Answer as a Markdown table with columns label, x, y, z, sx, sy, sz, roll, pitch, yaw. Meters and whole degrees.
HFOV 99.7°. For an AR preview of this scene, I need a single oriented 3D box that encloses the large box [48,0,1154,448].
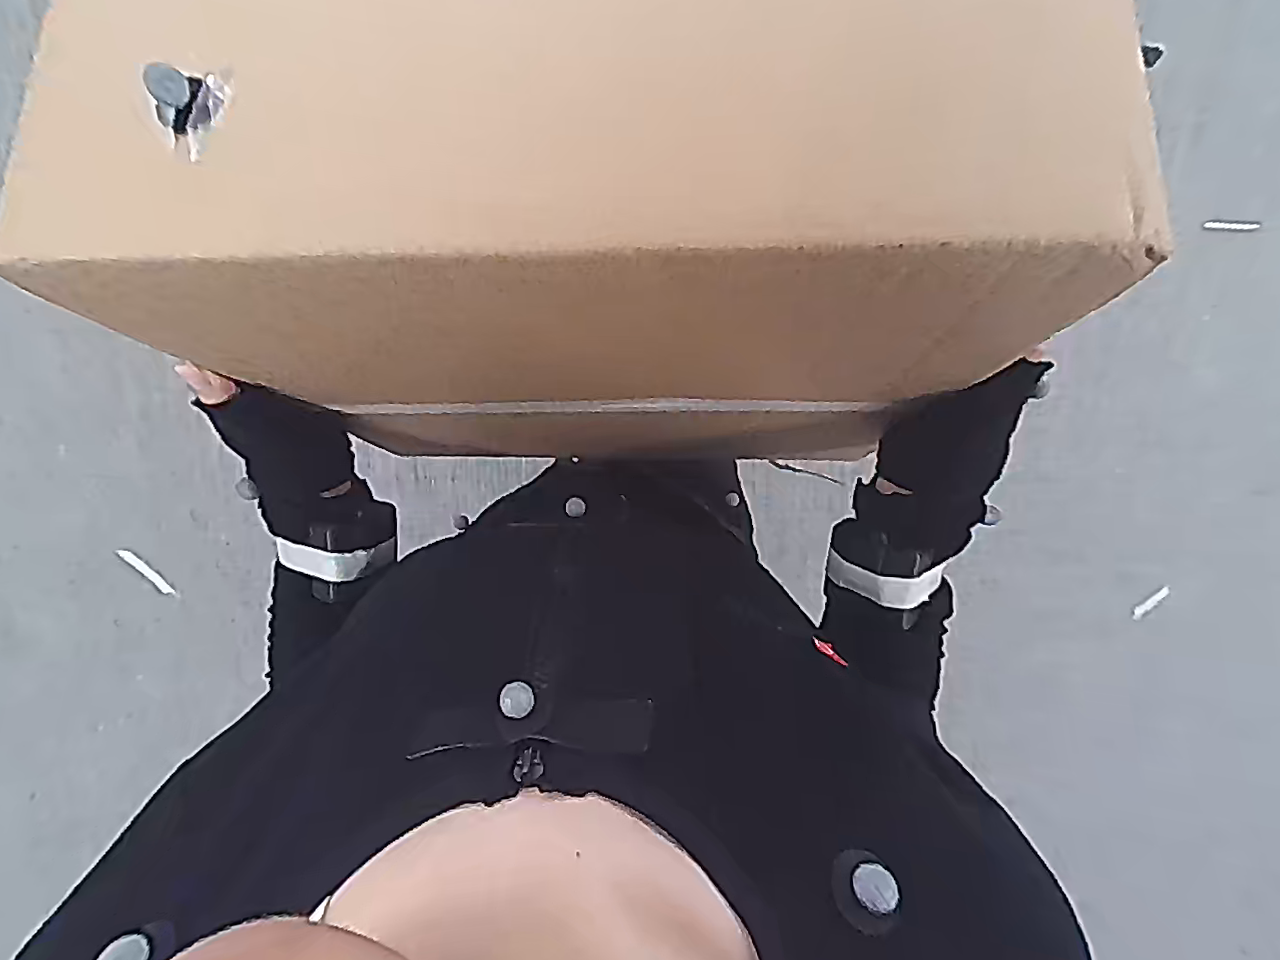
| label | x | y | z | sx | sy | sz | roll | pitch | yaw |
| --- | --- | --- | --- | --- | --- | --- | --- | --- | --- |
| large box | -0.019 | -0.206 | 0.363 | 0.408 | 0.320 | 0.320 | 0 | 80 | 3 |
